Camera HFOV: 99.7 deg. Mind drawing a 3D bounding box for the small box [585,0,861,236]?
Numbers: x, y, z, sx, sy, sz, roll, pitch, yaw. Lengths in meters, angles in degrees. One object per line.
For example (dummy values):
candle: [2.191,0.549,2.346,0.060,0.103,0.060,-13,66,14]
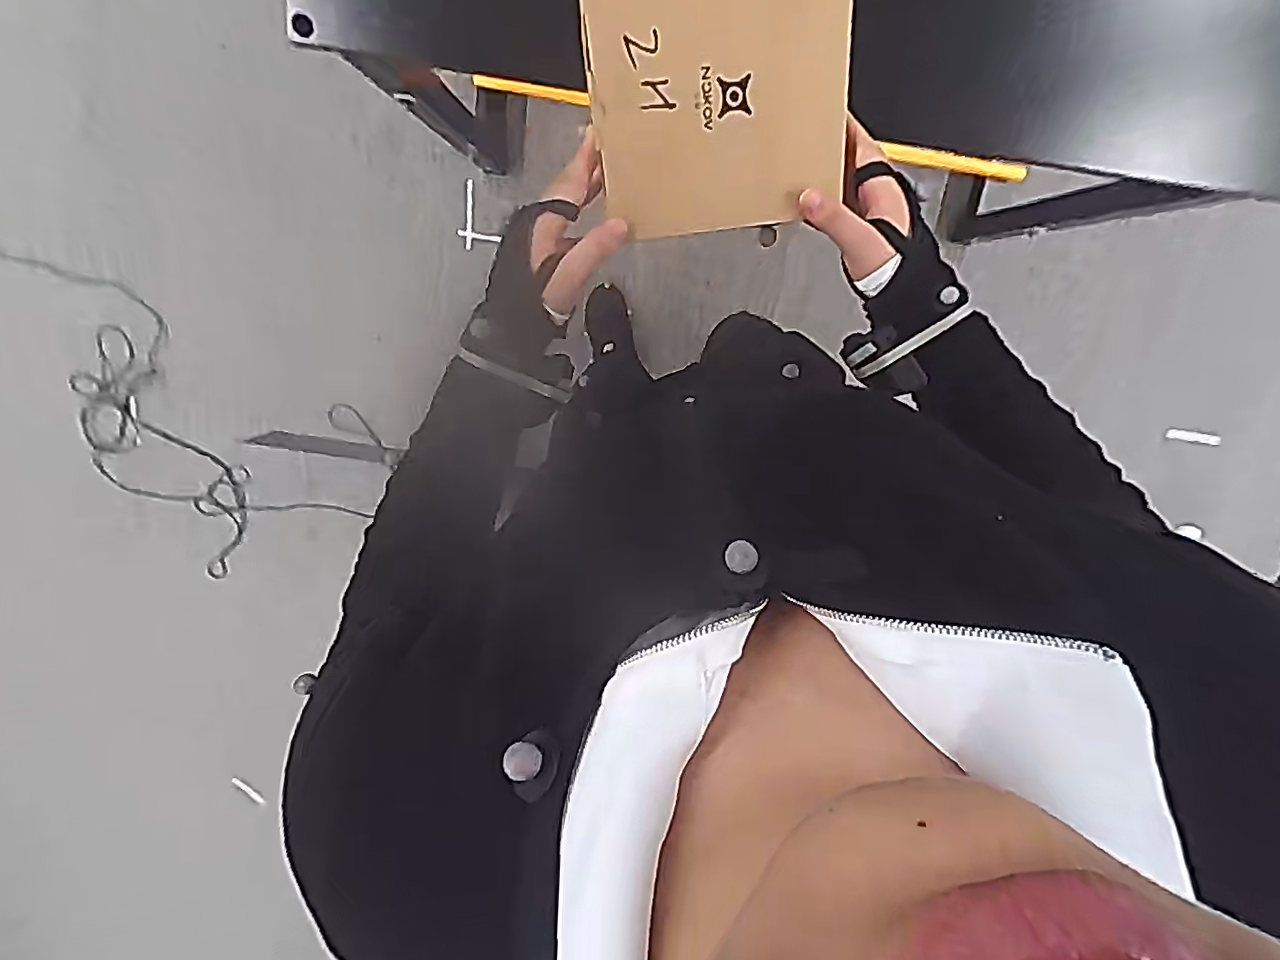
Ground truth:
small box: [0.051,-0.292,0.426,0.179,0.176,0.168,-6,116,-1]
